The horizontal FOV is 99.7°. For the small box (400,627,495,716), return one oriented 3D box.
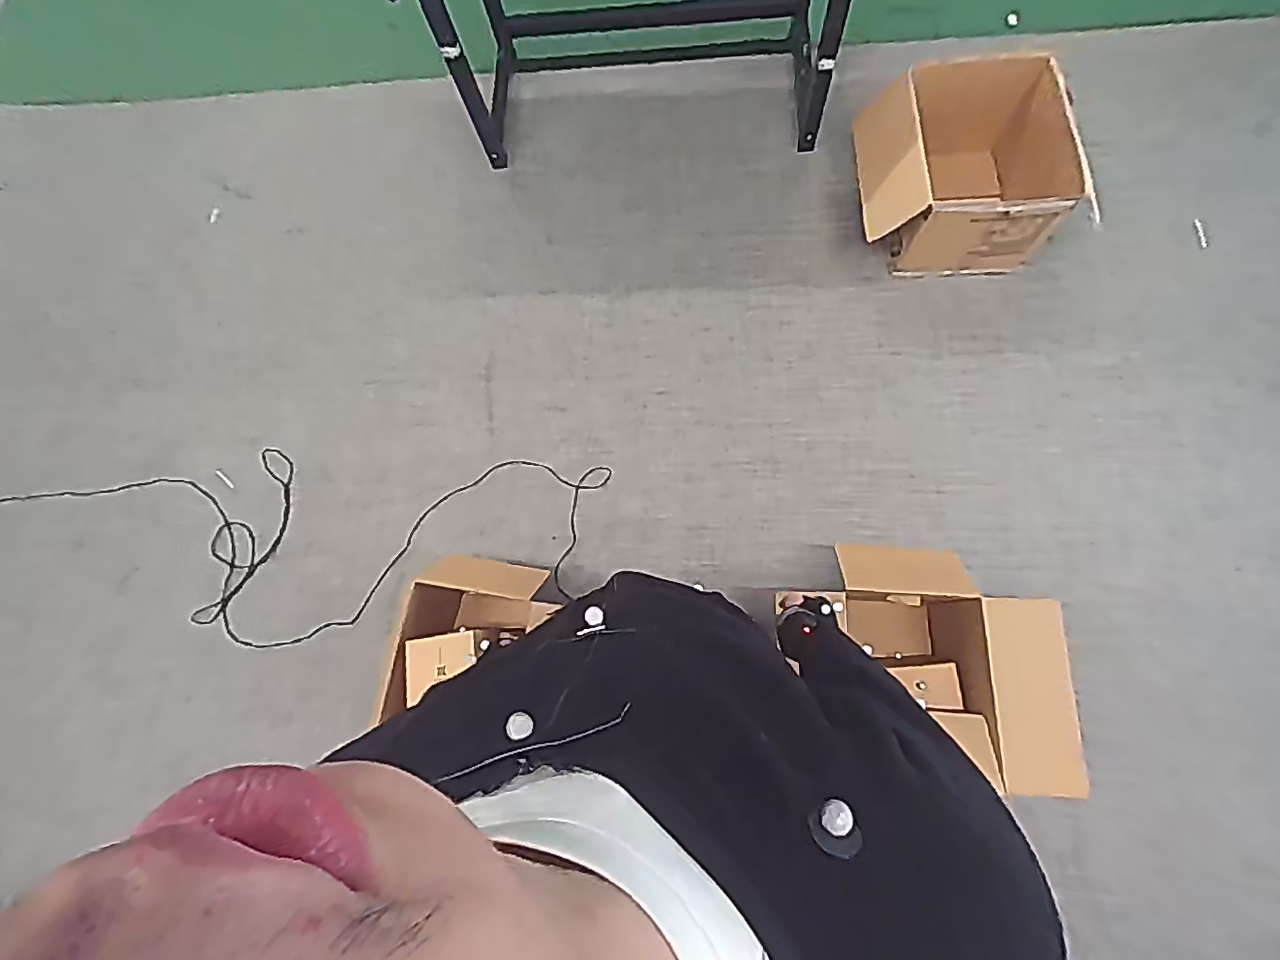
[{"bbox_3d":[-0.451,0.449,1.288,0.168,0.176,0.179,-6,76,3],"label":"small box"}]
